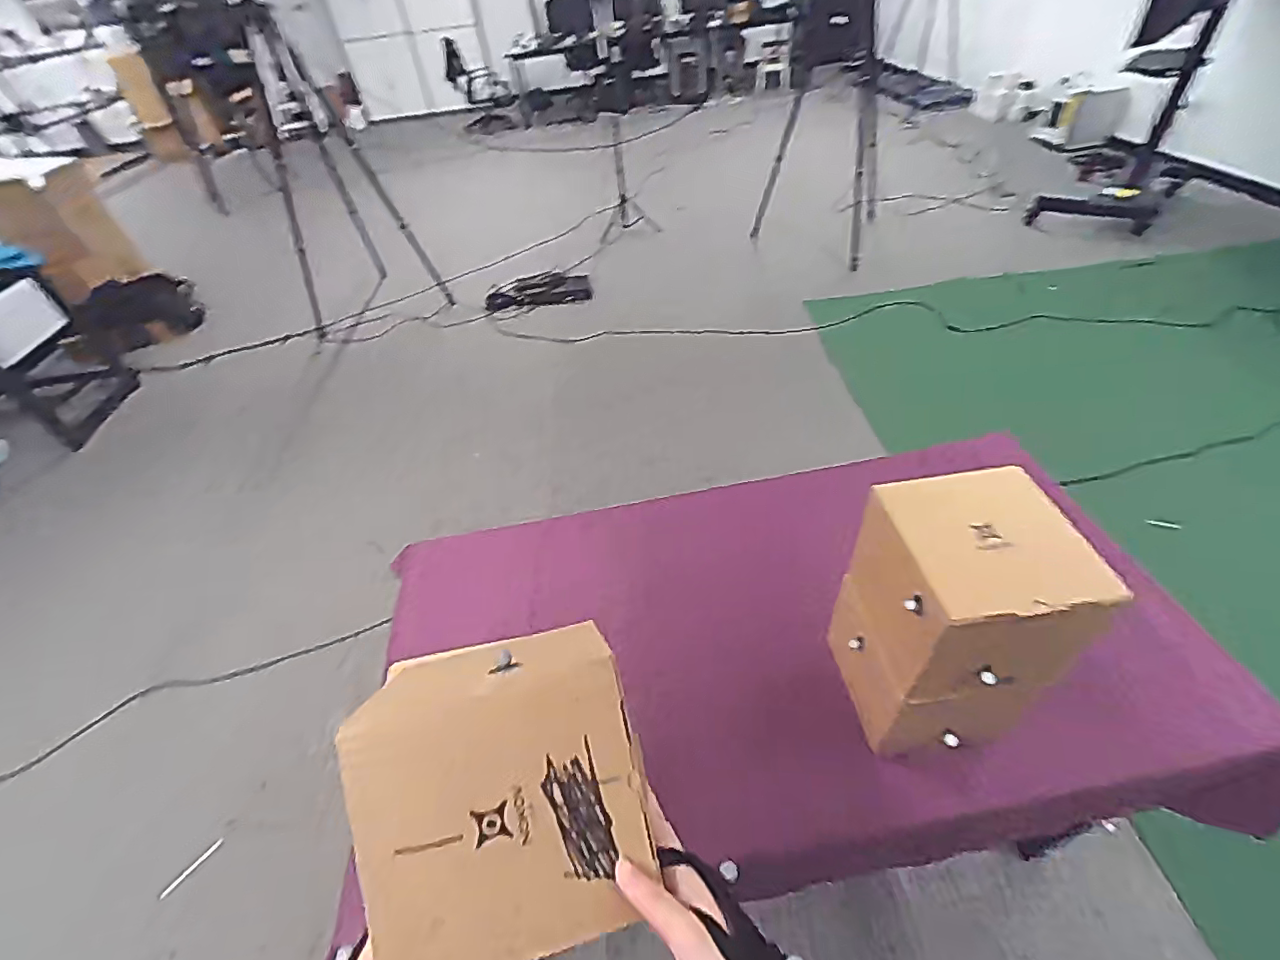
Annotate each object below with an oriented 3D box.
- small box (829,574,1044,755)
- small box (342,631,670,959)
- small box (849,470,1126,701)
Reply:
[{"bbox_3d":[0.362,0.231,0.706,0.168,0.176,0.179,-9,45,0],"label":"small box"},{"bbox_3d":[-0.093,0.224,0.410,0.179,0.176,0.168,-11,86,-10],"label":"small box"},{"bbox_3d":[0.349,0.115,0.593,0.168,0.176,0.179,-8,45,-1],"label":"small box"}]
